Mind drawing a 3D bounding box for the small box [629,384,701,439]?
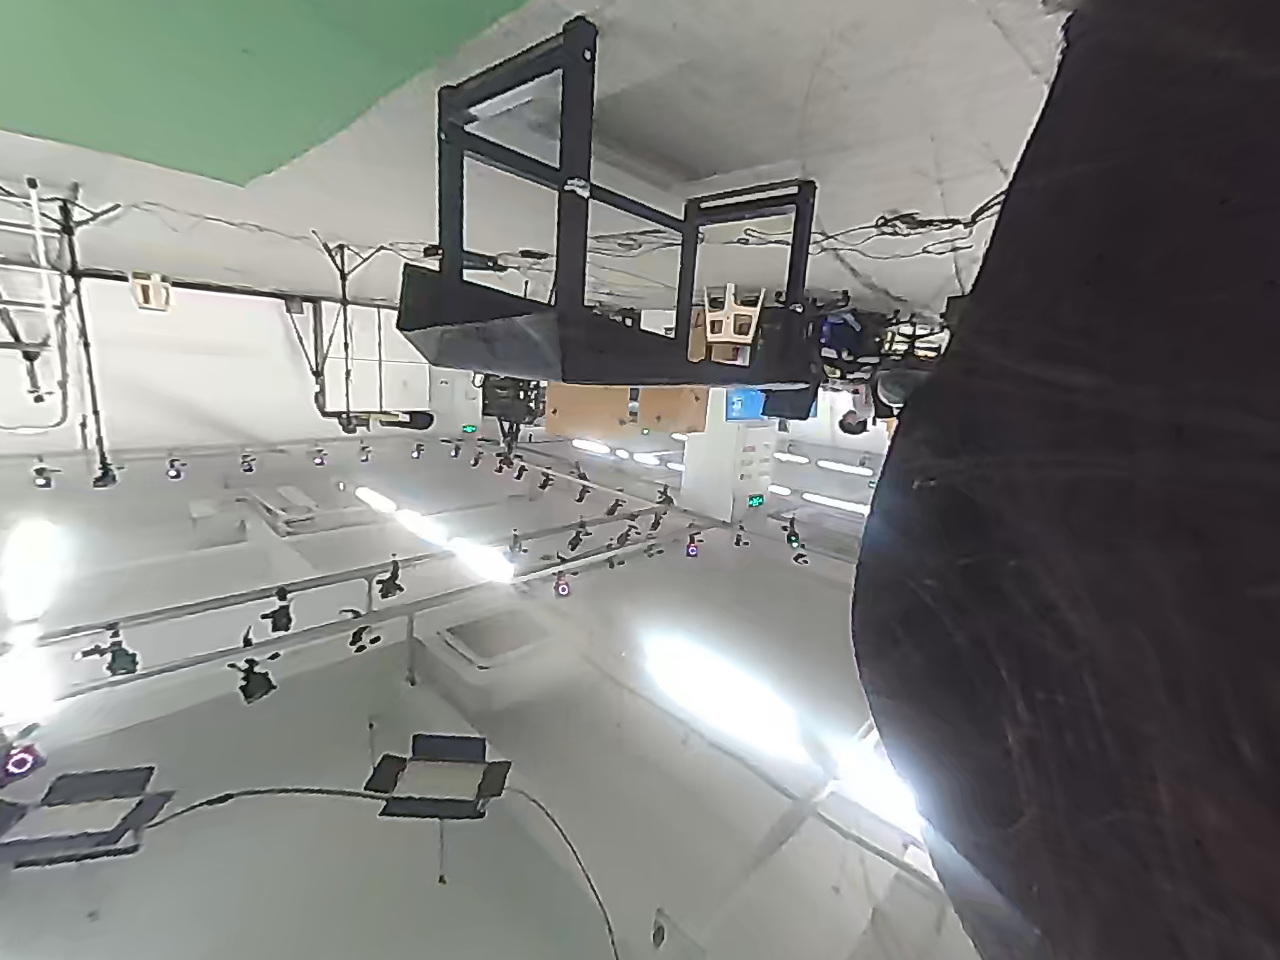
[{"bbox_3d":[0.086,-0.232,1.801,0.179,0.176,0.168,13,-166,39],"label":"small box"}]
